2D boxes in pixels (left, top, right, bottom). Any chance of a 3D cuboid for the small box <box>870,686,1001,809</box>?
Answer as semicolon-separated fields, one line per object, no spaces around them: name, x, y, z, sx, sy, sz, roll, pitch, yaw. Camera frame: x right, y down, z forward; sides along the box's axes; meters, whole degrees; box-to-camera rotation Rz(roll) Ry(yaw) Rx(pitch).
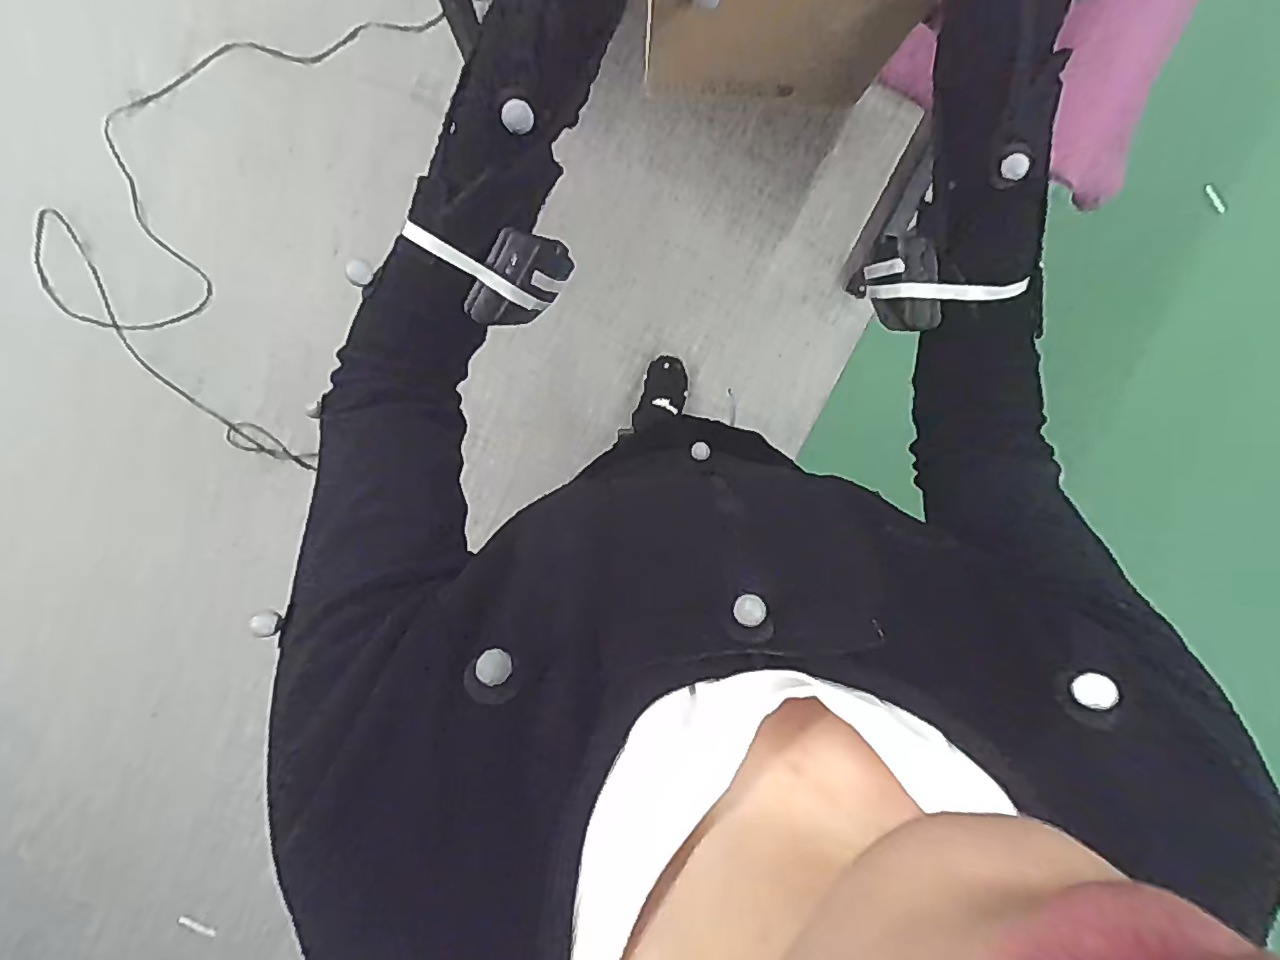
small box;0.679;0.612;1.261;0.179;0.176;0.168;24;93;-2
